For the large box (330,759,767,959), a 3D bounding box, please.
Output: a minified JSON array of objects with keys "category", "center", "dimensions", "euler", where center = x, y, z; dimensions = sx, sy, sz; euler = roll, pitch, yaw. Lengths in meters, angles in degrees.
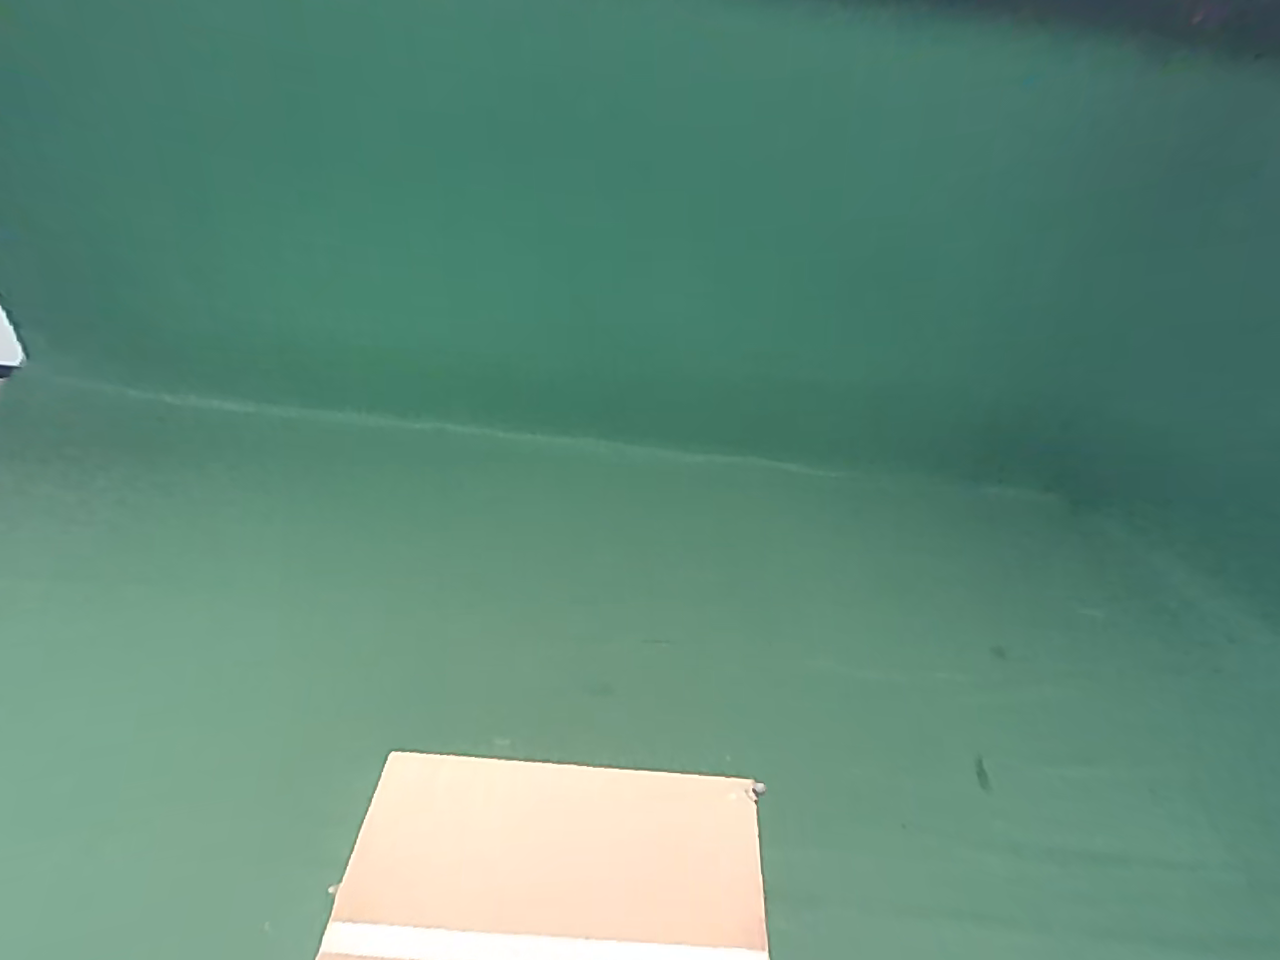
[{"category":"large box","center":[-0.092,0.537,0.602],"dimensions":[0.408,0.320,0.320],"euler":[5,46,-2]}]
